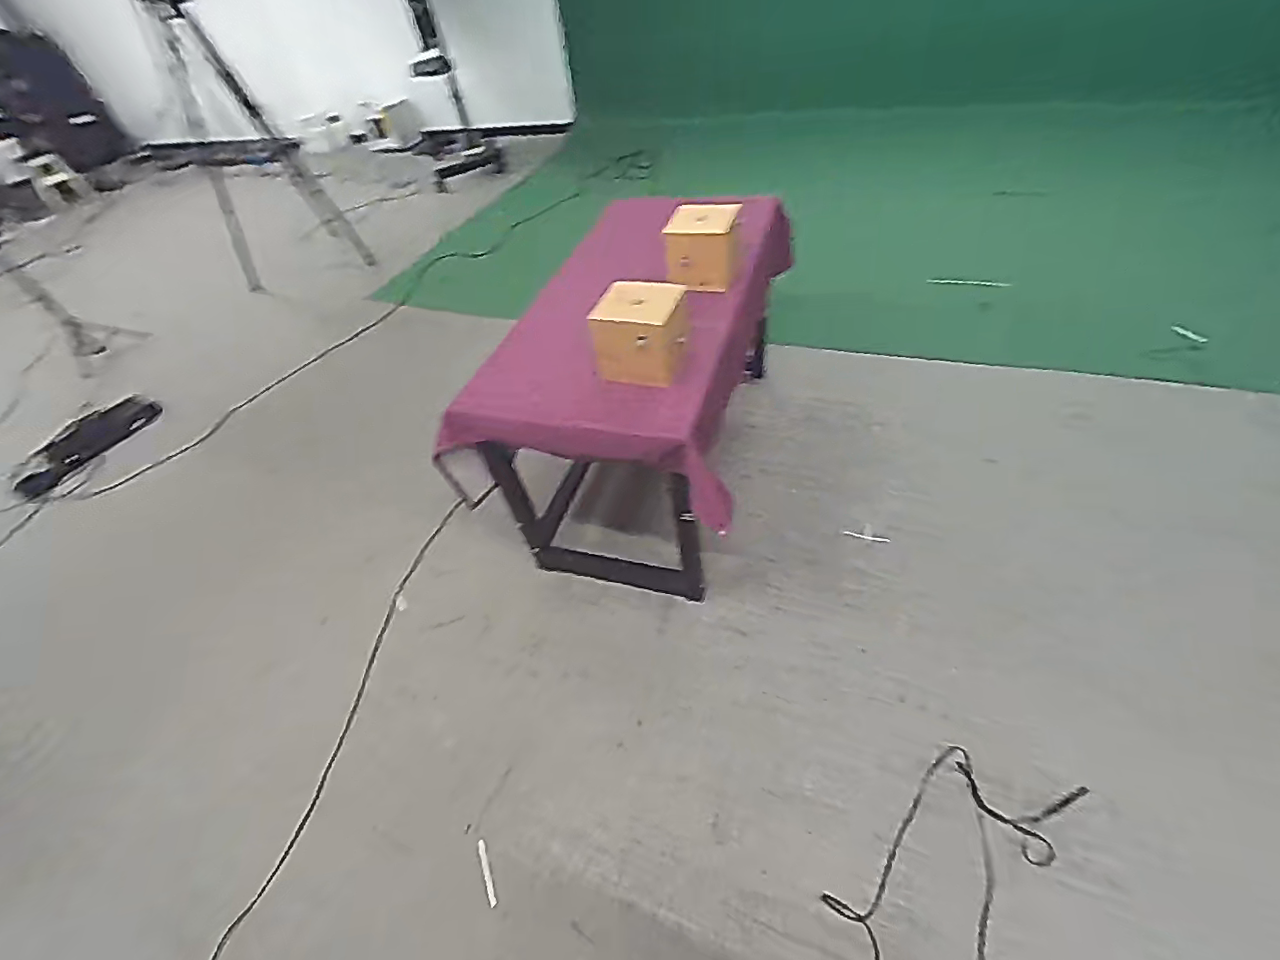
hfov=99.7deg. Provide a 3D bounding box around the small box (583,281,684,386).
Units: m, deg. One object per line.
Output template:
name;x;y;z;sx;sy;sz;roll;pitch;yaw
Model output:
small box;-0.005;-0.336;1.247;0.179;0.176;0.168;10;50;20

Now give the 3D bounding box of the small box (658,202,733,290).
small box;0.162;-0.643;1.494;0.168;0.176;0.179;9;50;19
